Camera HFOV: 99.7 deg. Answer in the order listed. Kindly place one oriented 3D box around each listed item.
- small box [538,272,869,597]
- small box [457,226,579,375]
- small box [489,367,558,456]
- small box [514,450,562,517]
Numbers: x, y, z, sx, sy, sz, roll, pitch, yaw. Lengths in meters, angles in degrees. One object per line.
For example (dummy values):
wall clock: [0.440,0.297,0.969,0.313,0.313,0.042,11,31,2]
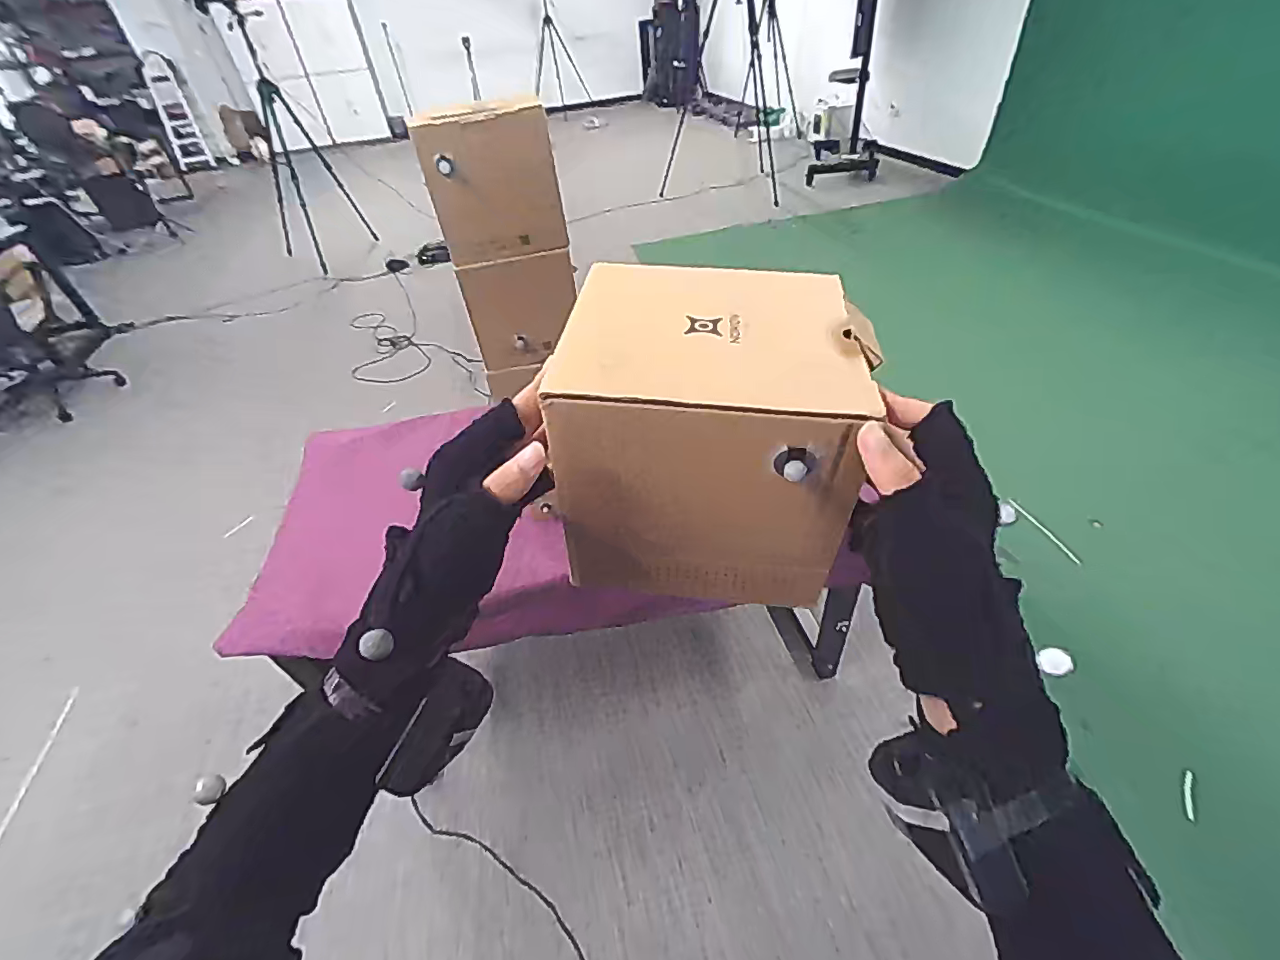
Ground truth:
small box: [0.040,-0.033,0.391,0.179,0.176,0.168,5,44,4]
small box: [-0.187,-0.293,0.882,0.168,0.176,0.179,-12,42,-5]
small box: [-0.172,-0.169,0.986,0.168,0.176,0.179,-12,42,-5]
small box: [-0.154,-0.042,1.089,0.168,0.176,0.179,-12,41,-5]
